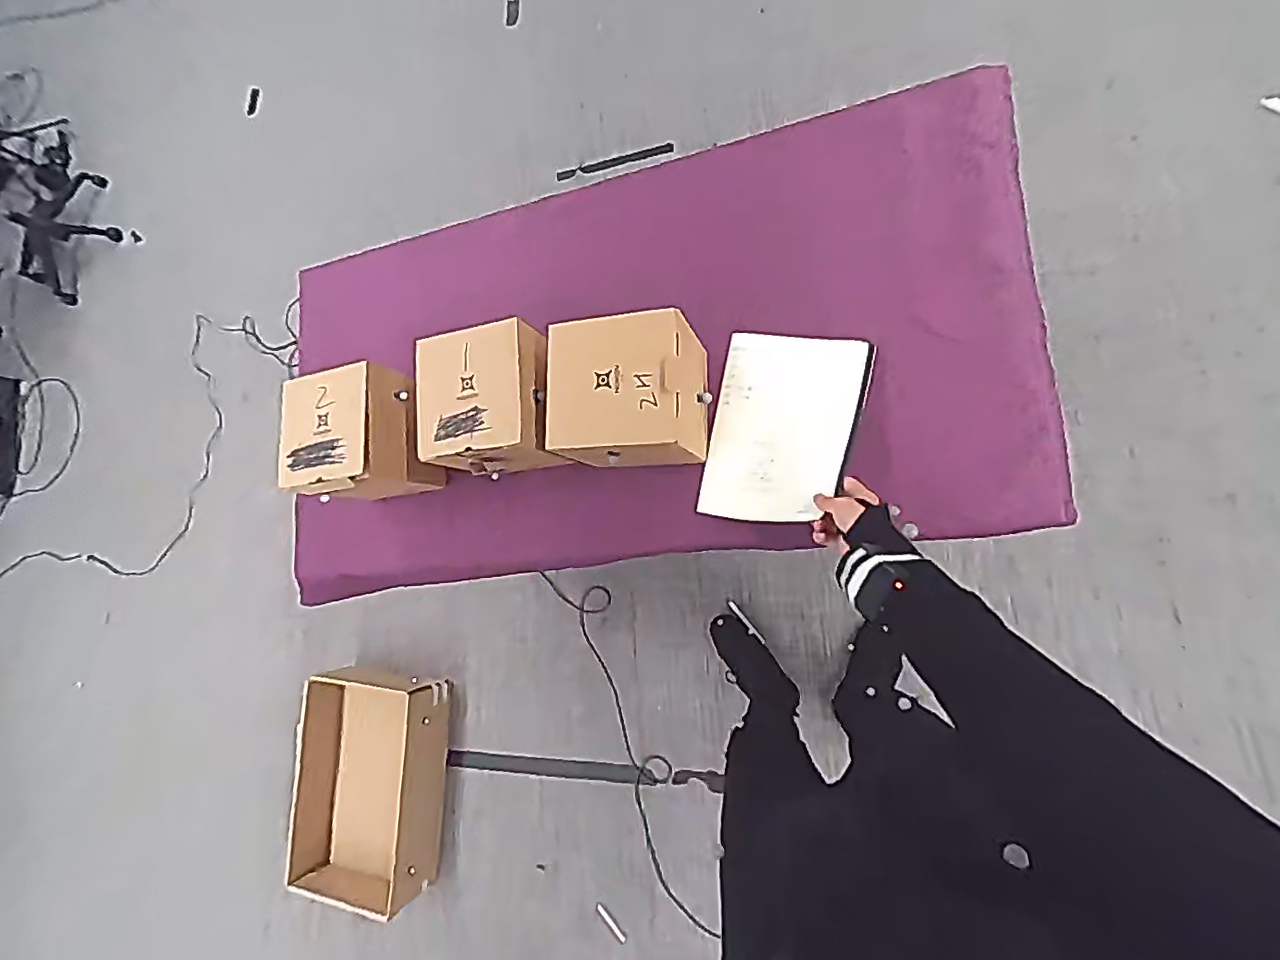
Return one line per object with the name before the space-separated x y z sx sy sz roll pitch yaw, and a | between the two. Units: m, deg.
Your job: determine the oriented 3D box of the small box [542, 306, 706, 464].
small box | -0.014 -0.115 0.733 0.179 0.176 0.168 -2 83 18
